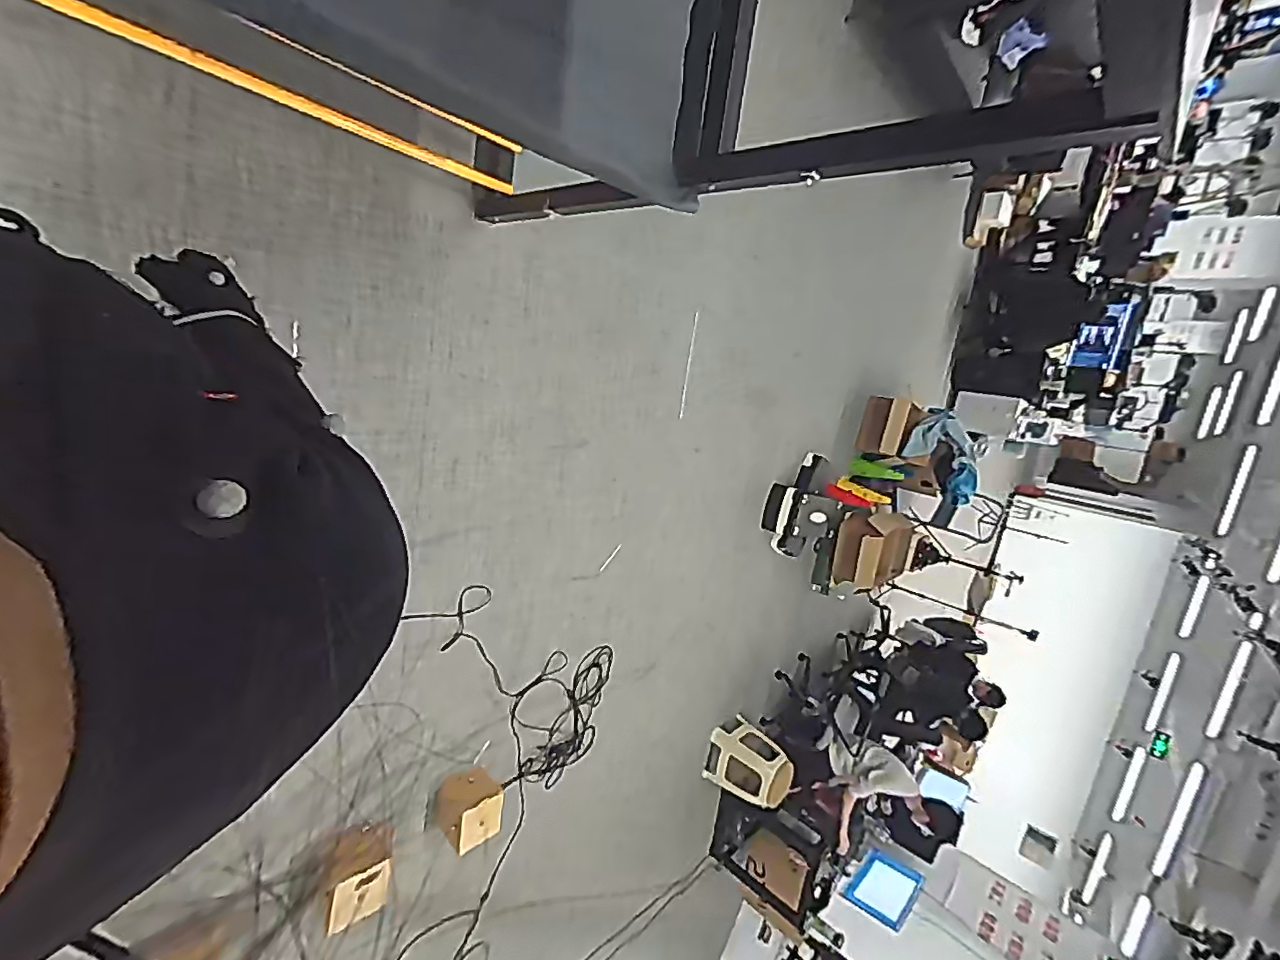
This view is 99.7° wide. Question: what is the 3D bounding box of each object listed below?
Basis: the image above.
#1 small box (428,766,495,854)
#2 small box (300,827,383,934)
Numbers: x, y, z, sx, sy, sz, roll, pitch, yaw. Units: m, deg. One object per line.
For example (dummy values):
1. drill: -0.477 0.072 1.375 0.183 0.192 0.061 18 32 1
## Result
1. small box: -0.645 1.180 1.949 0.168 0.176 0.179 -4 107 -49
2. small box: -0.912 1.203 1.648 0.168 0.176 0.179 3 102 -50
